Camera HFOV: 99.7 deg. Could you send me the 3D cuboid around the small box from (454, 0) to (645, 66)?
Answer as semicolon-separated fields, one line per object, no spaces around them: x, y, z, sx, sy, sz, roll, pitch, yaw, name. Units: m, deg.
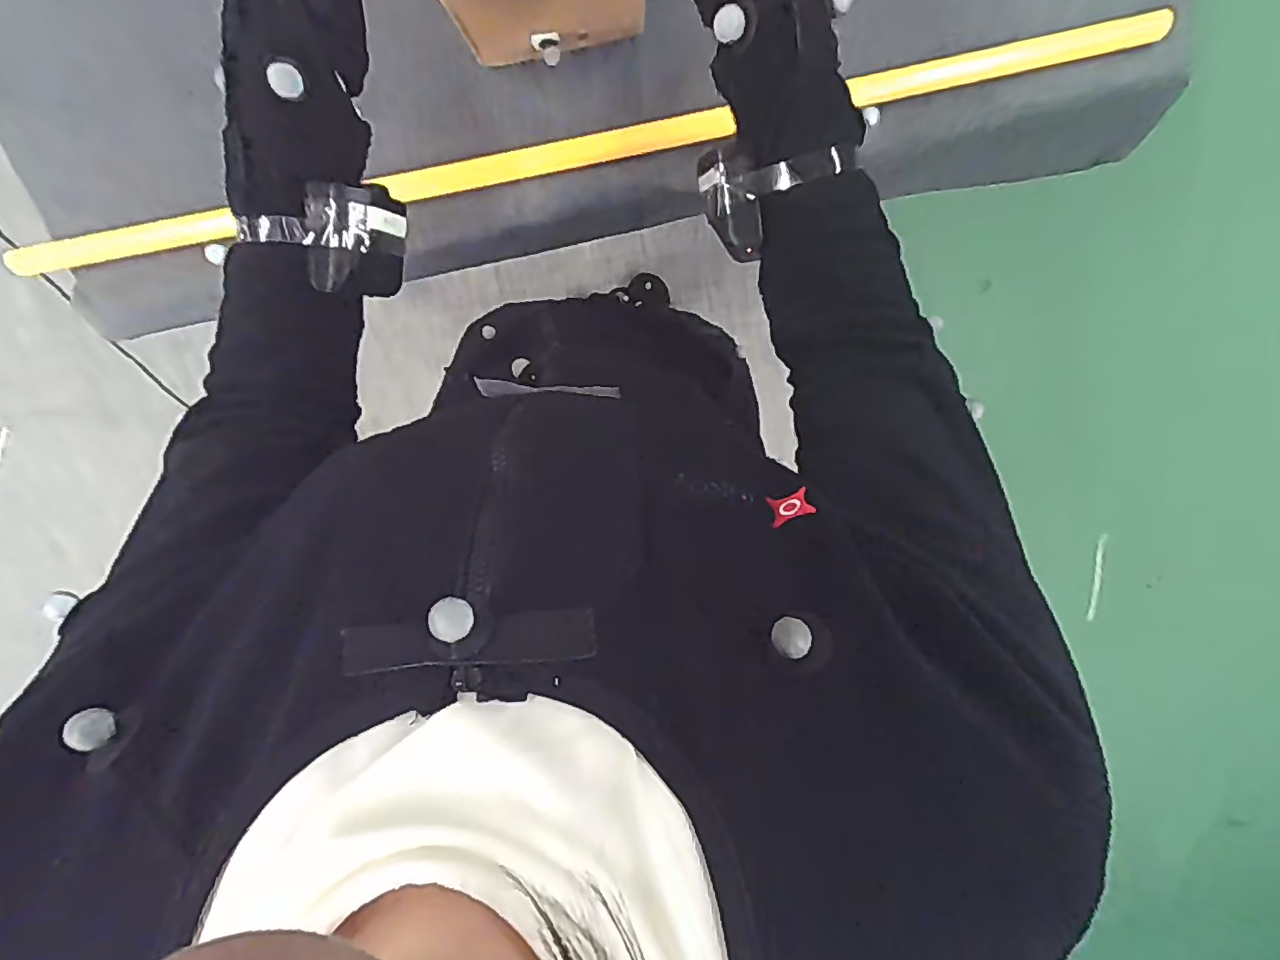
-0.090;-0.484;0.439;0.168;0.176;0.179;-12;111;3;small box
